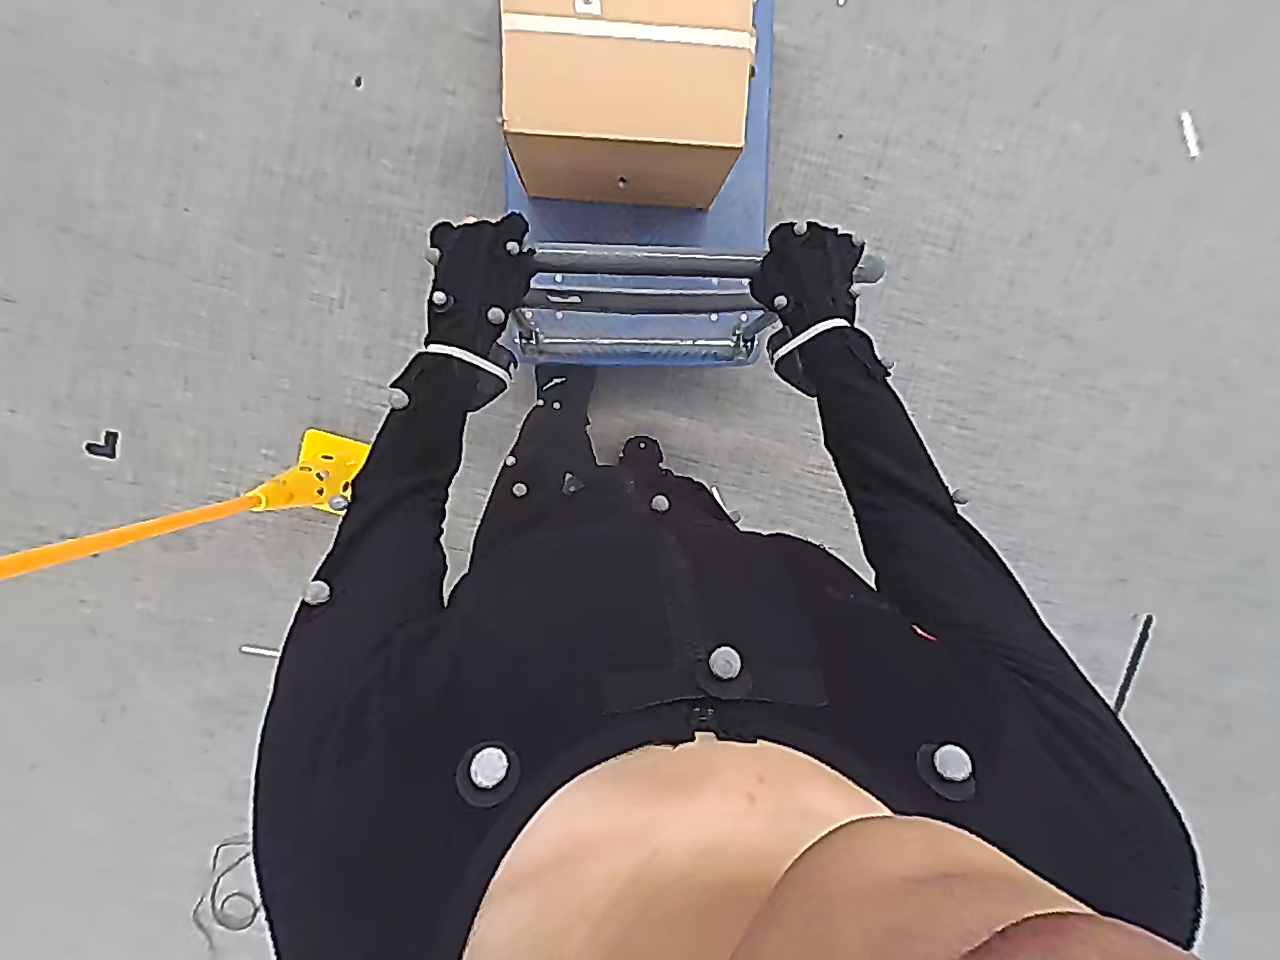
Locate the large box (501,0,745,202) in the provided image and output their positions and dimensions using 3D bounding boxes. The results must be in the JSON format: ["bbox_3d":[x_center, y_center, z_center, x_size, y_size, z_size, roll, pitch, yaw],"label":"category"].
[{"bbox_3d":[-0.032,-0.746,1.030,0.408,0.320,0.320,1,99,-3],"label":"large box"}]
